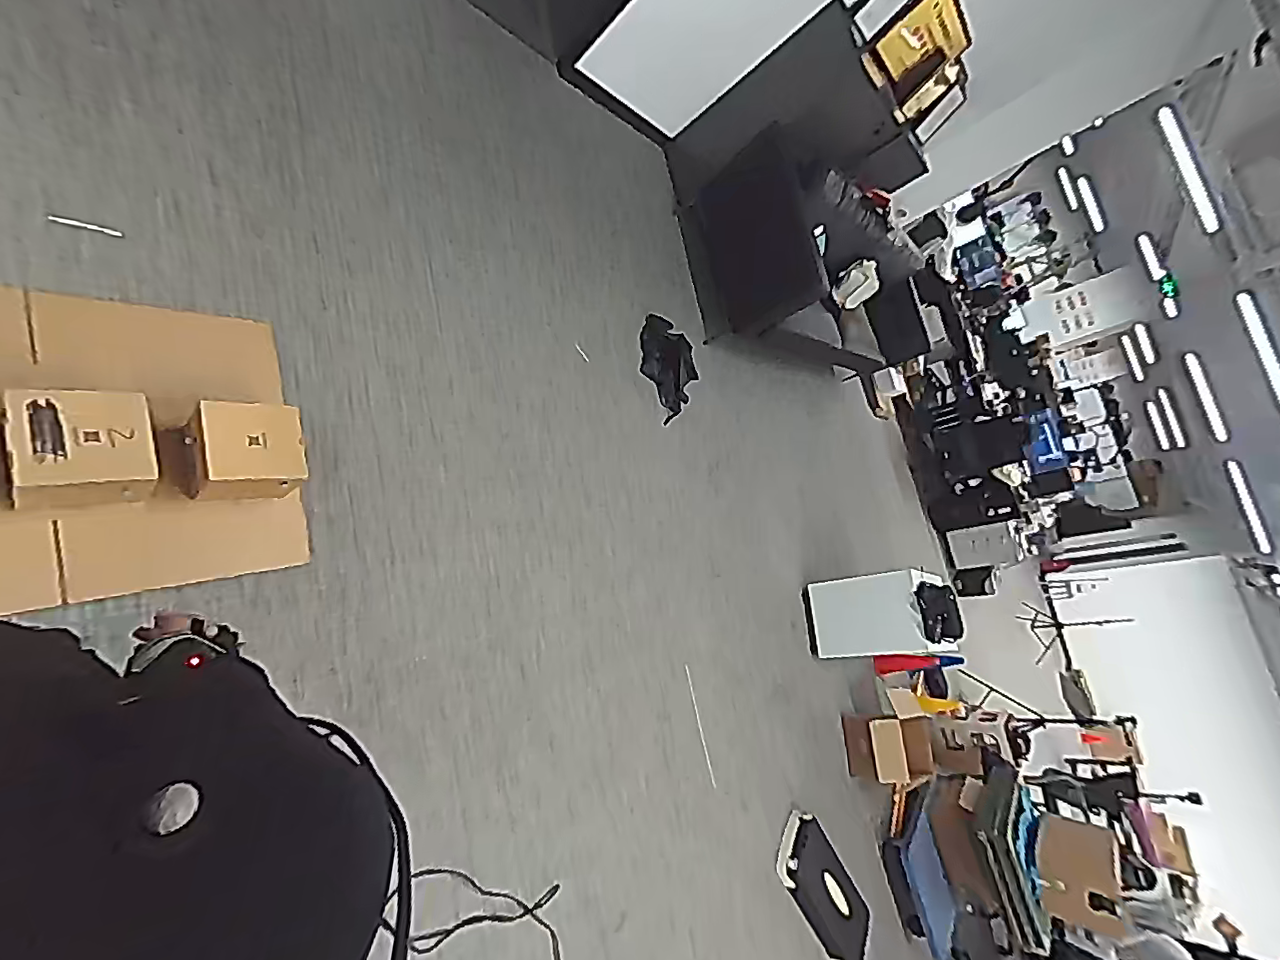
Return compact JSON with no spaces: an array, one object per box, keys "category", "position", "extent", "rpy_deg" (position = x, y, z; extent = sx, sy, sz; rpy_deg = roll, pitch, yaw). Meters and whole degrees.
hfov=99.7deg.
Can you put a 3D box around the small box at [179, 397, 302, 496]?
[{"category":"small box","position":[-0.852,-0.065,1.148],"extent":[0.179,0.176,0.168],"rpy_deg":[-3,77,-51]}]
